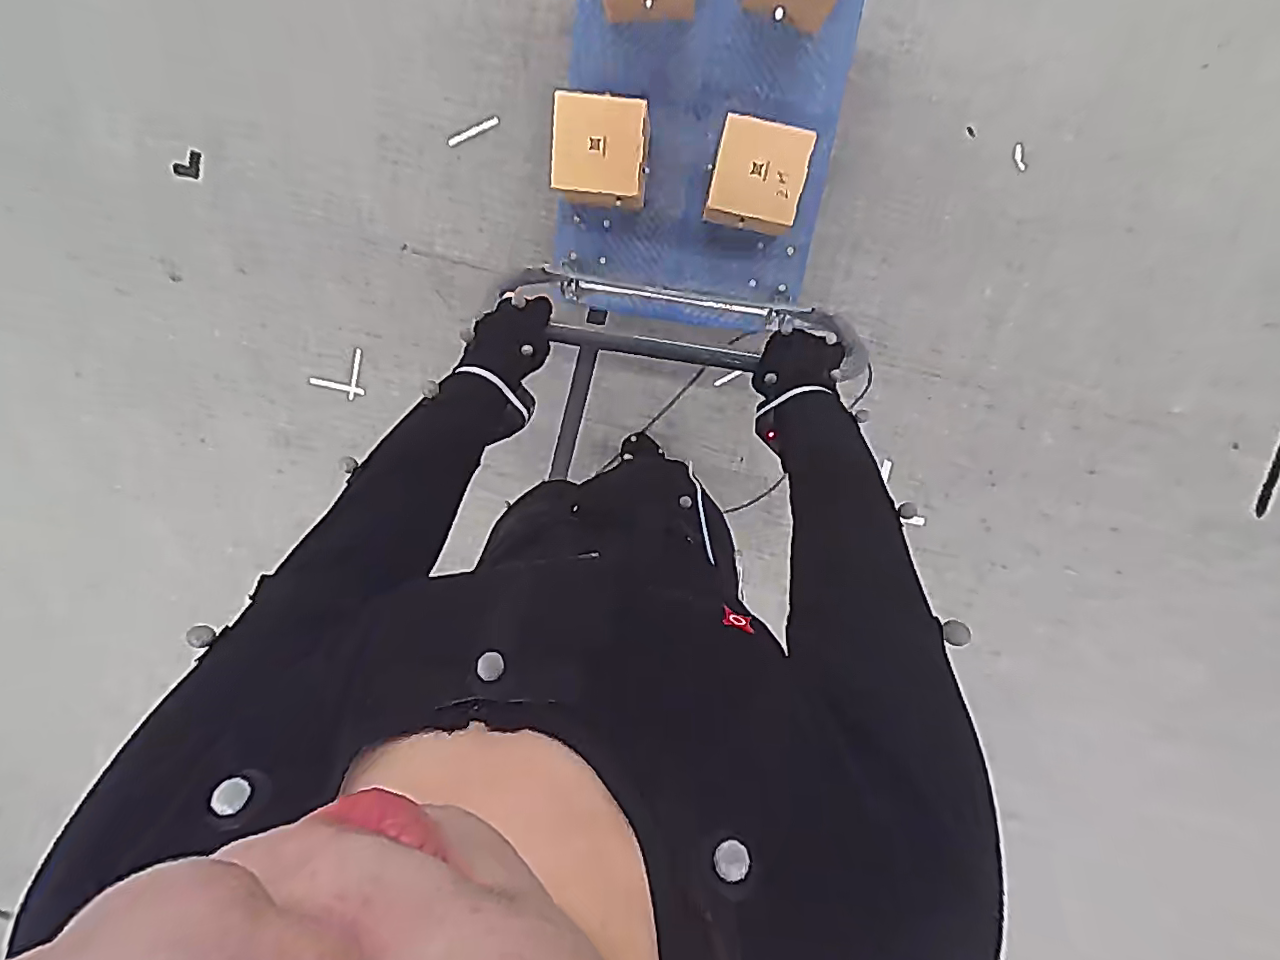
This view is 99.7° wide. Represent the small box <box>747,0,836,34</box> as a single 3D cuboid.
[{"bbox_3d":[0.306,-0.980,0.990,0.168,0.176,0.179,19,108,-3],"label":"small box"}]

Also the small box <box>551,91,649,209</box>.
[{"bbox_3d":[-0.077,-0.666,1.110,0.179,0.176,0.168,6,107,0],"label":"small box"}]

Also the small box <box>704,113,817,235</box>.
[{"bbox_3d":[0.235,-0.615,1.108,0.179,0.176,0.168,13,108,-1],"label":"small box"}]
